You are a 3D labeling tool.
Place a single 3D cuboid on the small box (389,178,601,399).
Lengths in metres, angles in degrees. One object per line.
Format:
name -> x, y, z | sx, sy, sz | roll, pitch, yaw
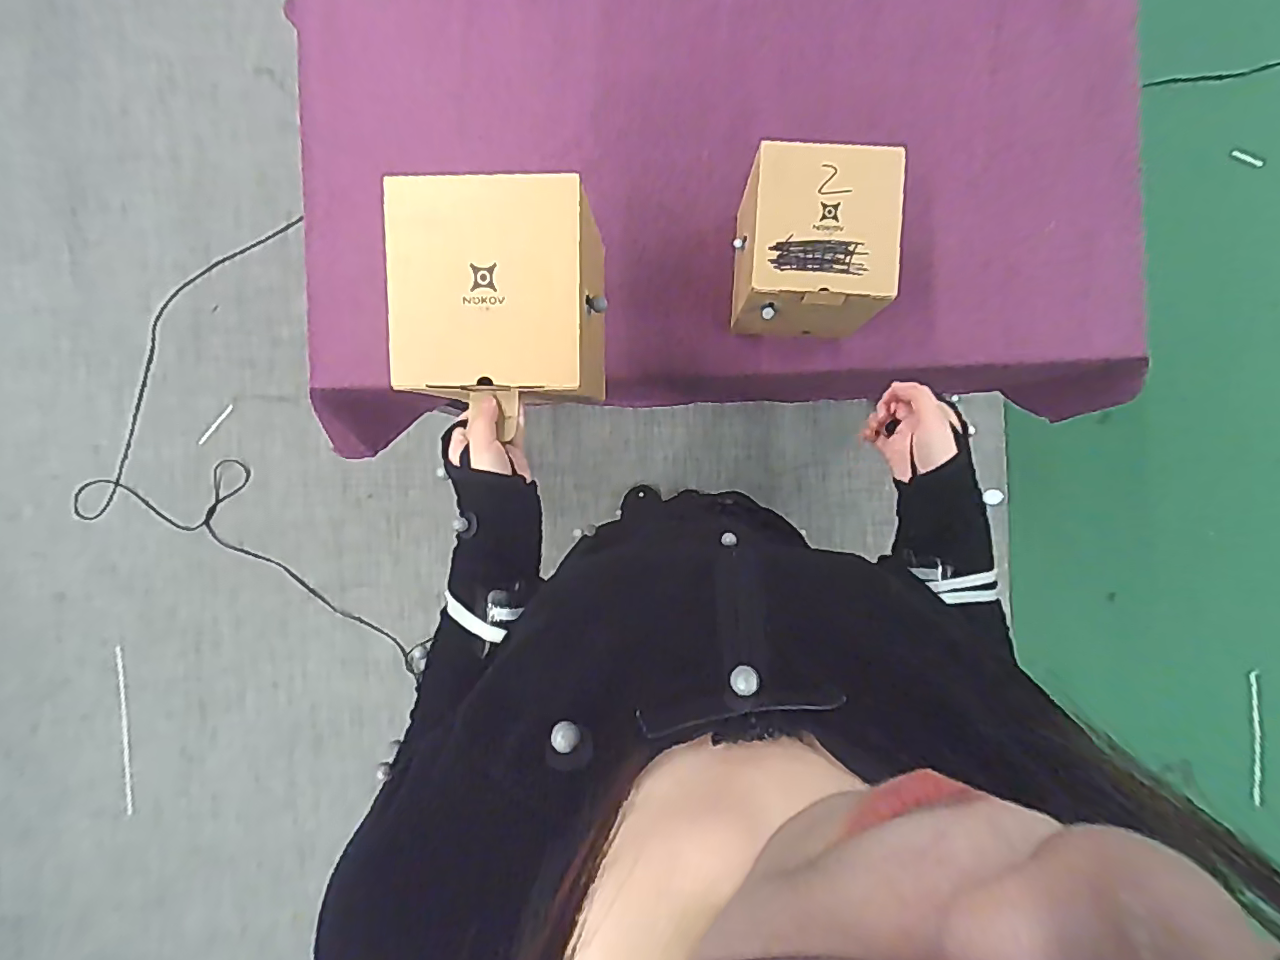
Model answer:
small box -> -0.131, -0.176, 0.545 | 0.168, 0.176, 0.179 | 1, 96, 3
